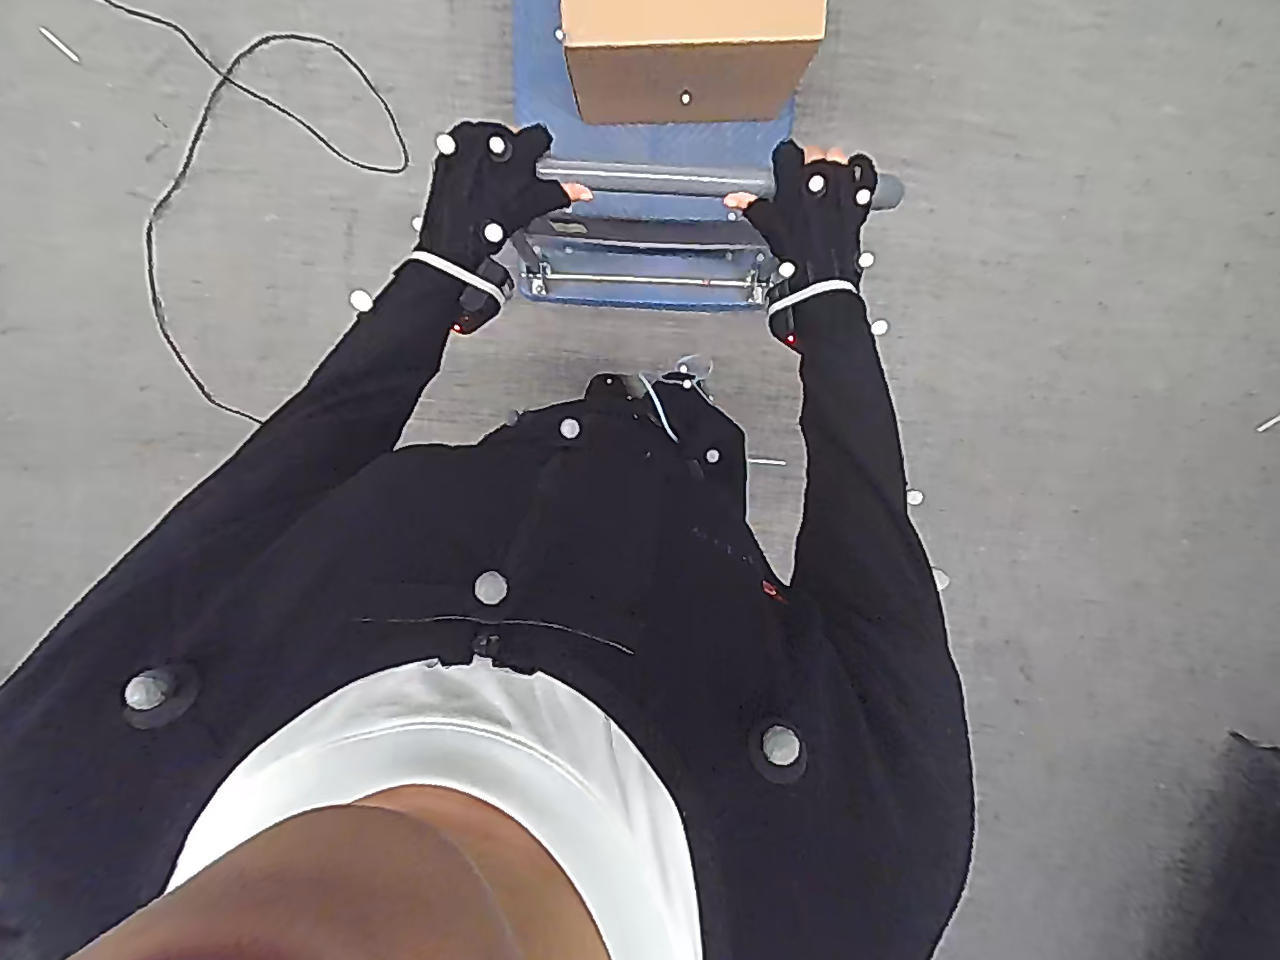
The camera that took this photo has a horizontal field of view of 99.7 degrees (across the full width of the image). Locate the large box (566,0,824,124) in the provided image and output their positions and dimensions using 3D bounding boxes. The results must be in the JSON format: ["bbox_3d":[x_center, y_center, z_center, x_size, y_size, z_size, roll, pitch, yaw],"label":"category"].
[{"bbox_3d":[0.083,-0.865,0.953,0.408,0.320,0.320,-2,104,1],"label":"large box"}]
